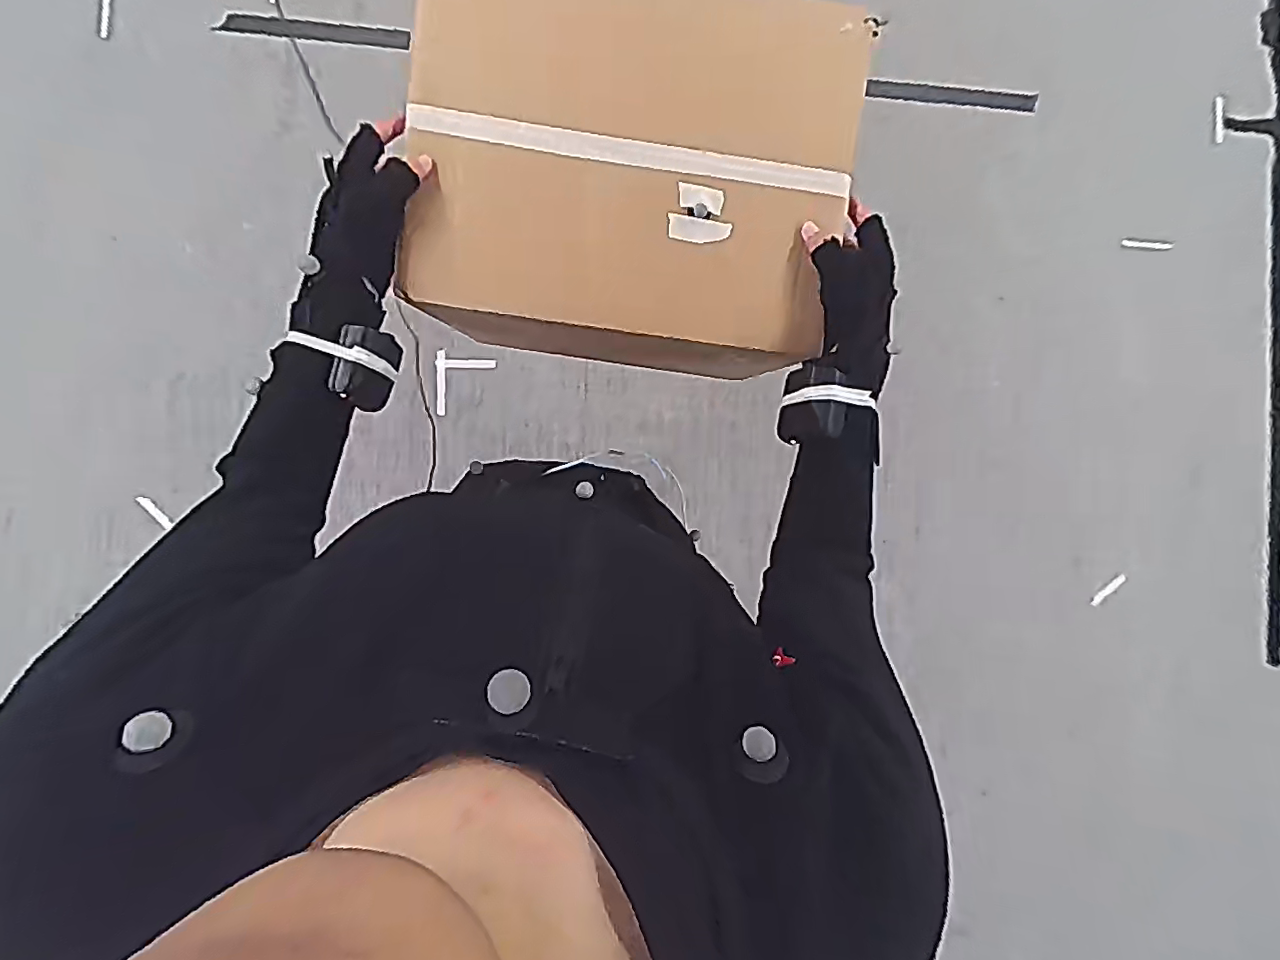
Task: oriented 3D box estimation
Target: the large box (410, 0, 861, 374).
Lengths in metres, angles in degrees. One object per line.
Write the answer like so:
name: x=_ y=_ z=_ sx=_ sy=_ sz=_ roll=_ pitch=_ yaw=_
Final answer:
large box: x=-0.016 y=-0.316 z=0.653 sx=0.408 sy=0.320 sz=0.320 roll=7 pitch=97 yaw=-5
